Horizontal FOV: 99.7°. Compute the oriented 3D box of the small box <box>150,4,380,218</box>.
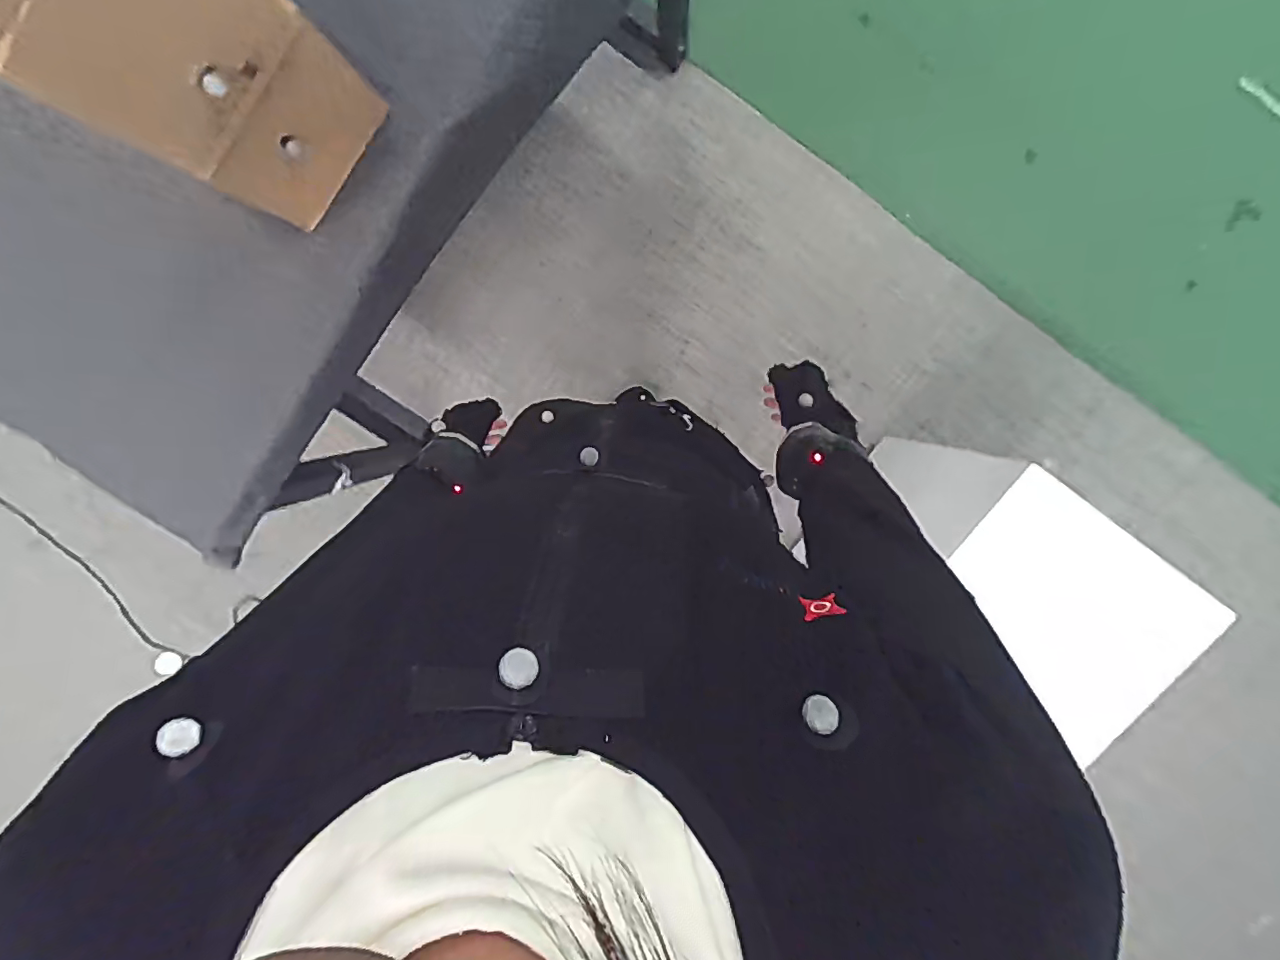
[{"bbox_3d":[-0.412,-0.412,0.563,0.168,0.176,0.179,38,100,-3],"label":"small box"}]

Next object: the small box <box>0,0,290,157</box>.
[{"bbox_3d":[-0.419,-0.386,0.400,0.179,0.176,0.168,36,99,-1],"label":"small box"}]
